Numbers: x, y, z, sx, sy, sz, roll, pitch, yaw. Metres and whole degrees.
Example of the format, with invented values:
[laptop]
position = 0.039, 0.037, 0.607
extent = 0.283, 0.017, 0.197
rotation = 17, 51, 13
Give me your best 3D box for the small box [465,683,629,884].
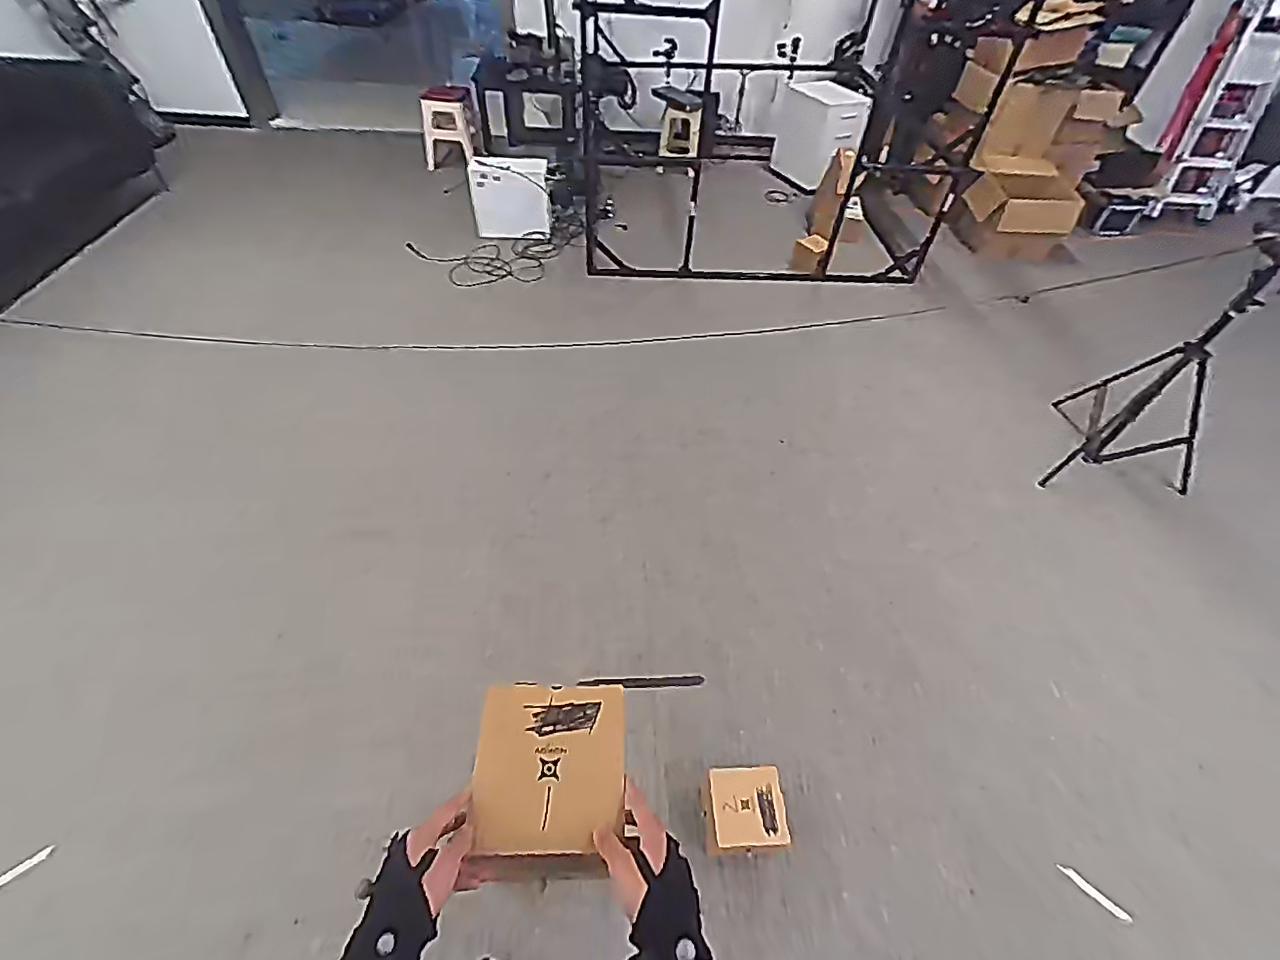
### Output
[small box]
position = -0.103, 0.367, 0.654
extent = 0.168, 0.176, 0.179
rotation = 3, 47, -5
